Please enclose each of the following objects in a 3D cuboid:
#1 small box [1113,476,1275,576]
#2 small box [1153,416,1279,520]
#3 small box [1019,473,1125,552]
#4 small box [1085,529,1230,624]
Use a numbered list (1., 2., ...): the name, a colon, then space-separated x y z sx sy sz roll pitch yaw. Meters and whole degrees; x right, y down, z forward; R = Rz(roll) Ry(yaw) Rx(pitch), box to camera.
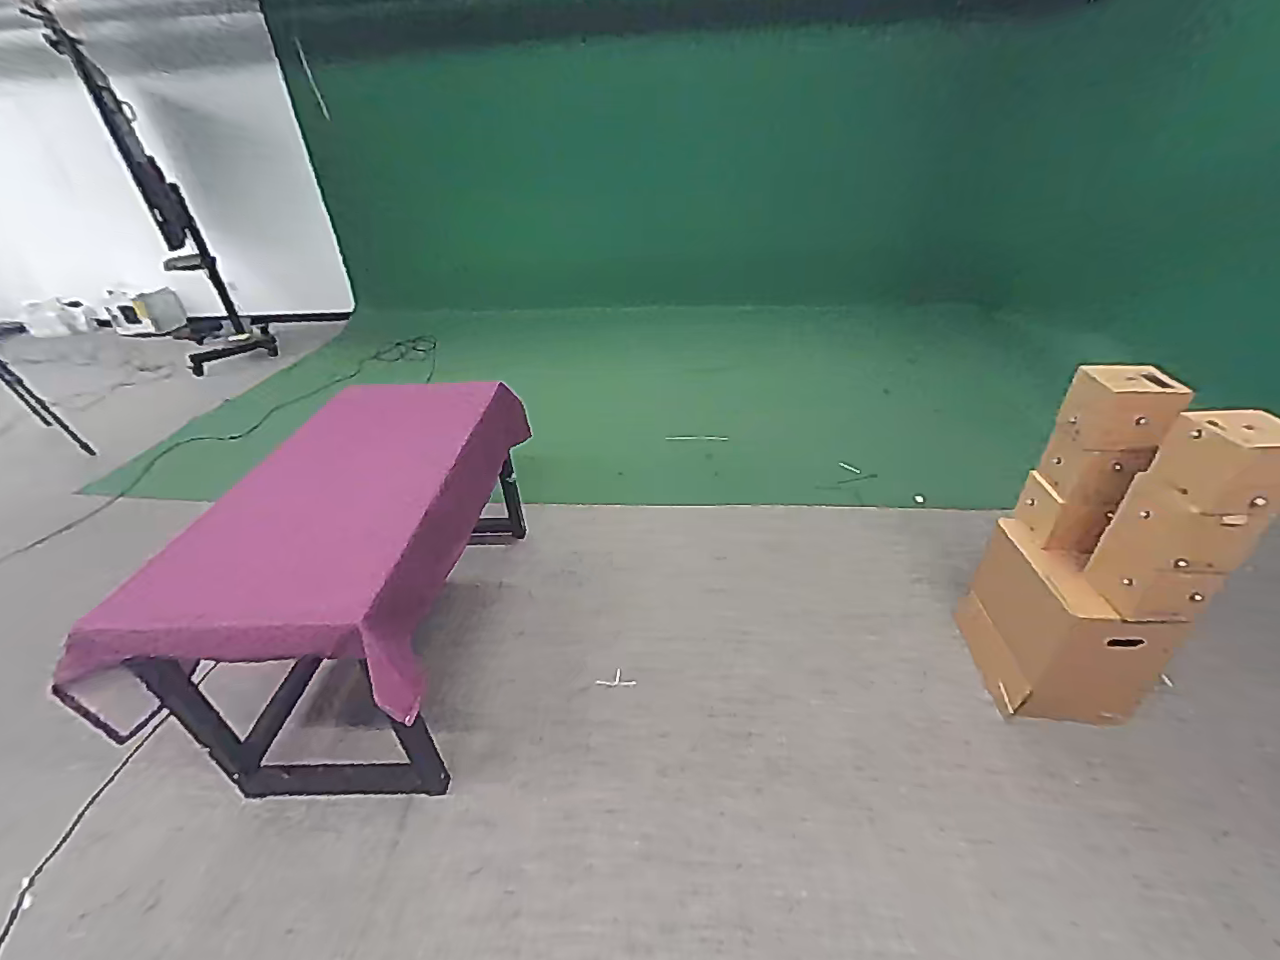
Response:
1. small box: 1.280 0.107 1.267 0.168 0.176 0.179 2 32 4
2. small box: 1.289 -0.026 1.170 0.179 0.176 0.168 1 33 2
3. small box: 1.248 0.094 1.580 0.179 0.176 0.168 2 35 5
4. small box: 1.283 0.243 1.359 0.168 0.176 0.179 1 32 3
